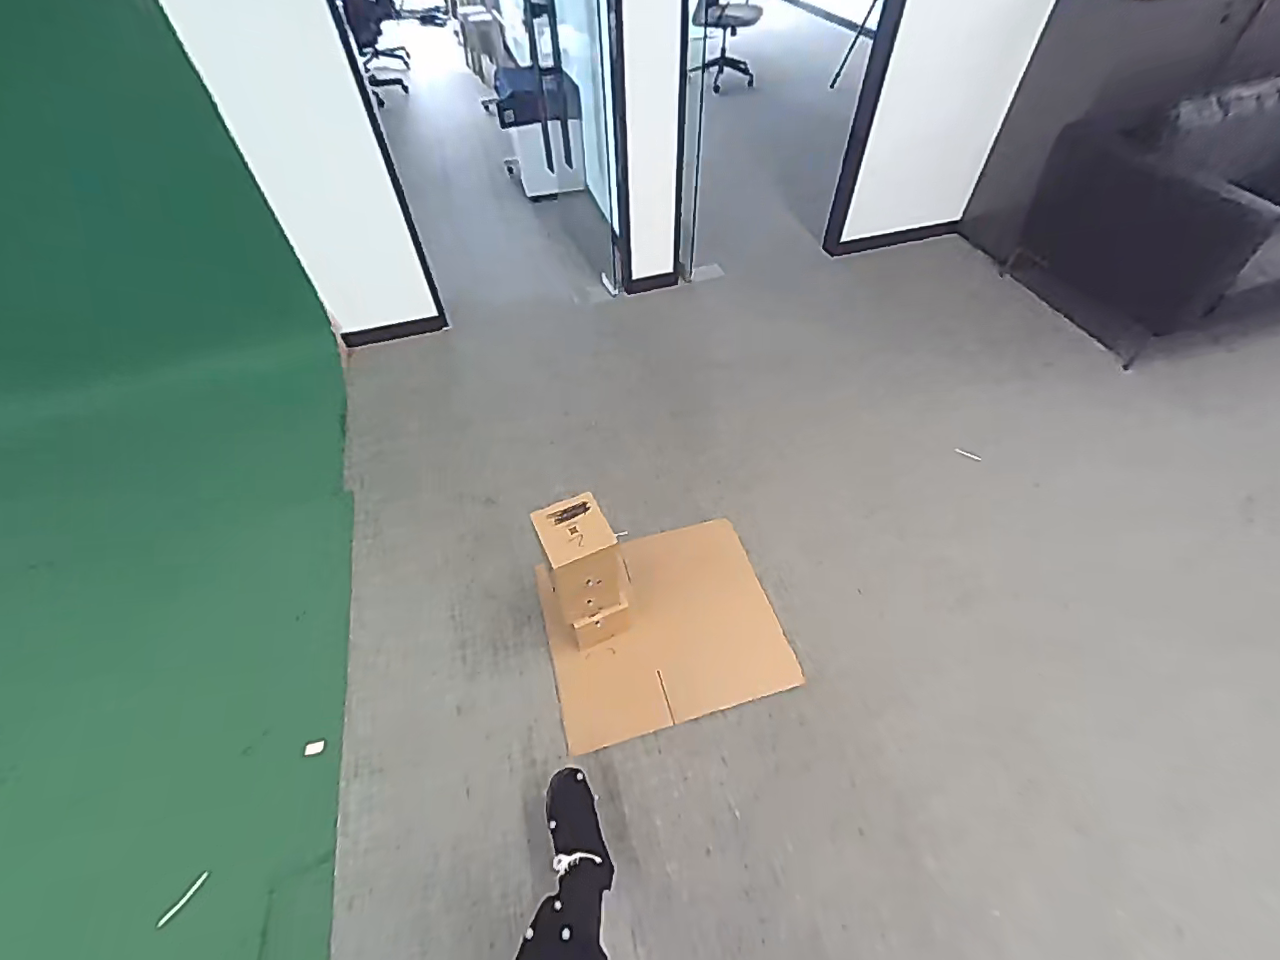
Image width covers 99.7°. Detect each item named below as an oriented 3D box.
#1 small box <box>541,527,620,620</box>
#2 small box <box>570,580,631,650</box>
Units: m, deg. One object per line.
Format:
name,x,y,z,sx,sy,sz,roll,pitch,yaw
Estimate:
small box,-0.160,0.265,1.494,0.168,0.176,0.179,-18,52,-14
small box,-0.133,0.376,1.616,0.168,0.176,0.179,-20,53,-14
